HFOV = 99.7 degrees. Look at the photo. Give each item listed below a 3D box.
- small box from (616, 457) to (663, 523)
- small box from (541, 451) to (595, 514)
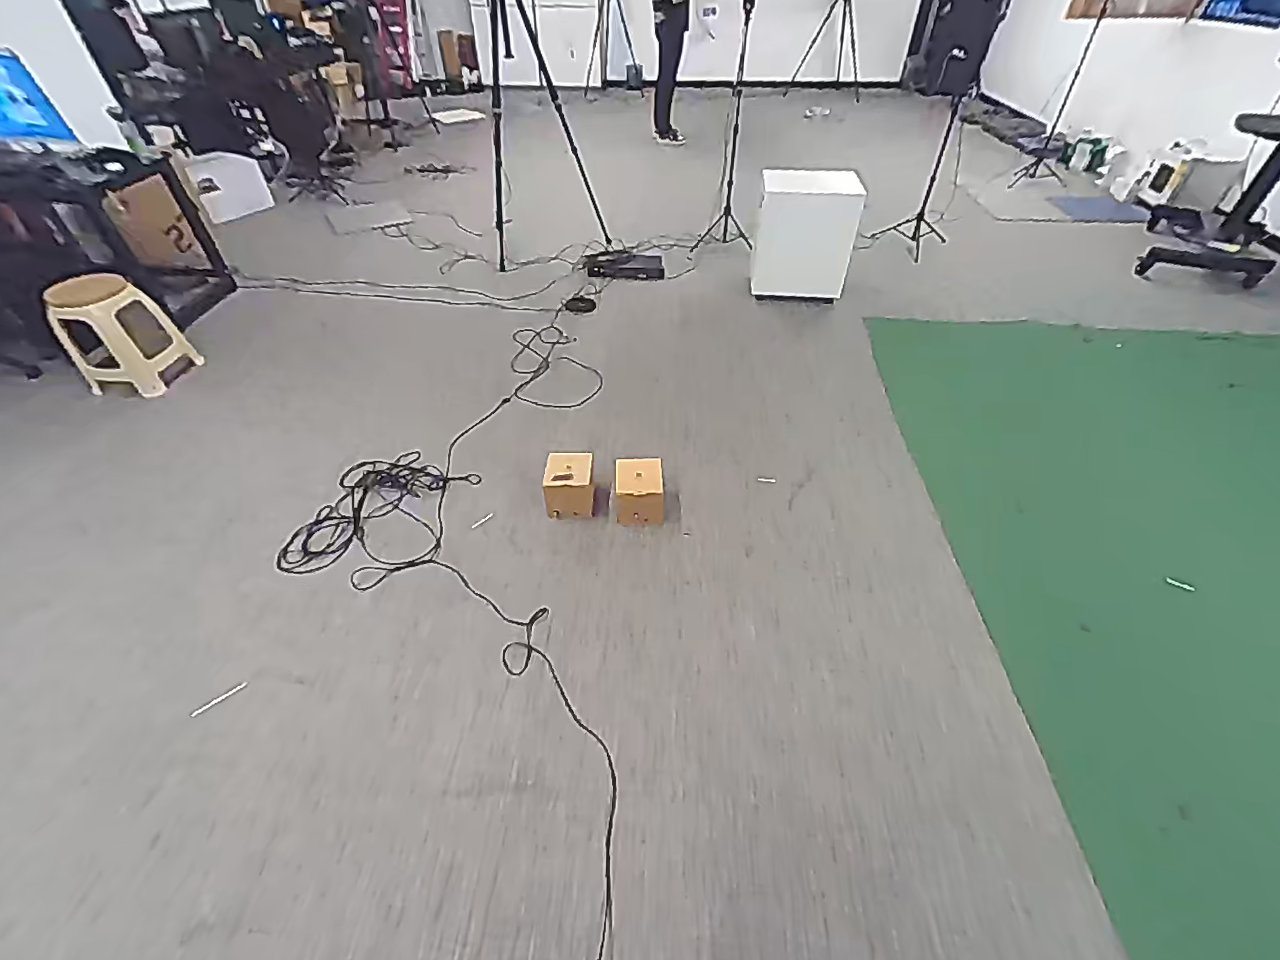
[{"bbox_3d":[-0.005,0.036,1.962,0.168,0.176,0.179,-2,46,-1],"label":"small box"},{"bbox_3d":[-0.258,0.012,1.986,0.168,0.176,0.179,1,44,1],"label":"small box"}]
